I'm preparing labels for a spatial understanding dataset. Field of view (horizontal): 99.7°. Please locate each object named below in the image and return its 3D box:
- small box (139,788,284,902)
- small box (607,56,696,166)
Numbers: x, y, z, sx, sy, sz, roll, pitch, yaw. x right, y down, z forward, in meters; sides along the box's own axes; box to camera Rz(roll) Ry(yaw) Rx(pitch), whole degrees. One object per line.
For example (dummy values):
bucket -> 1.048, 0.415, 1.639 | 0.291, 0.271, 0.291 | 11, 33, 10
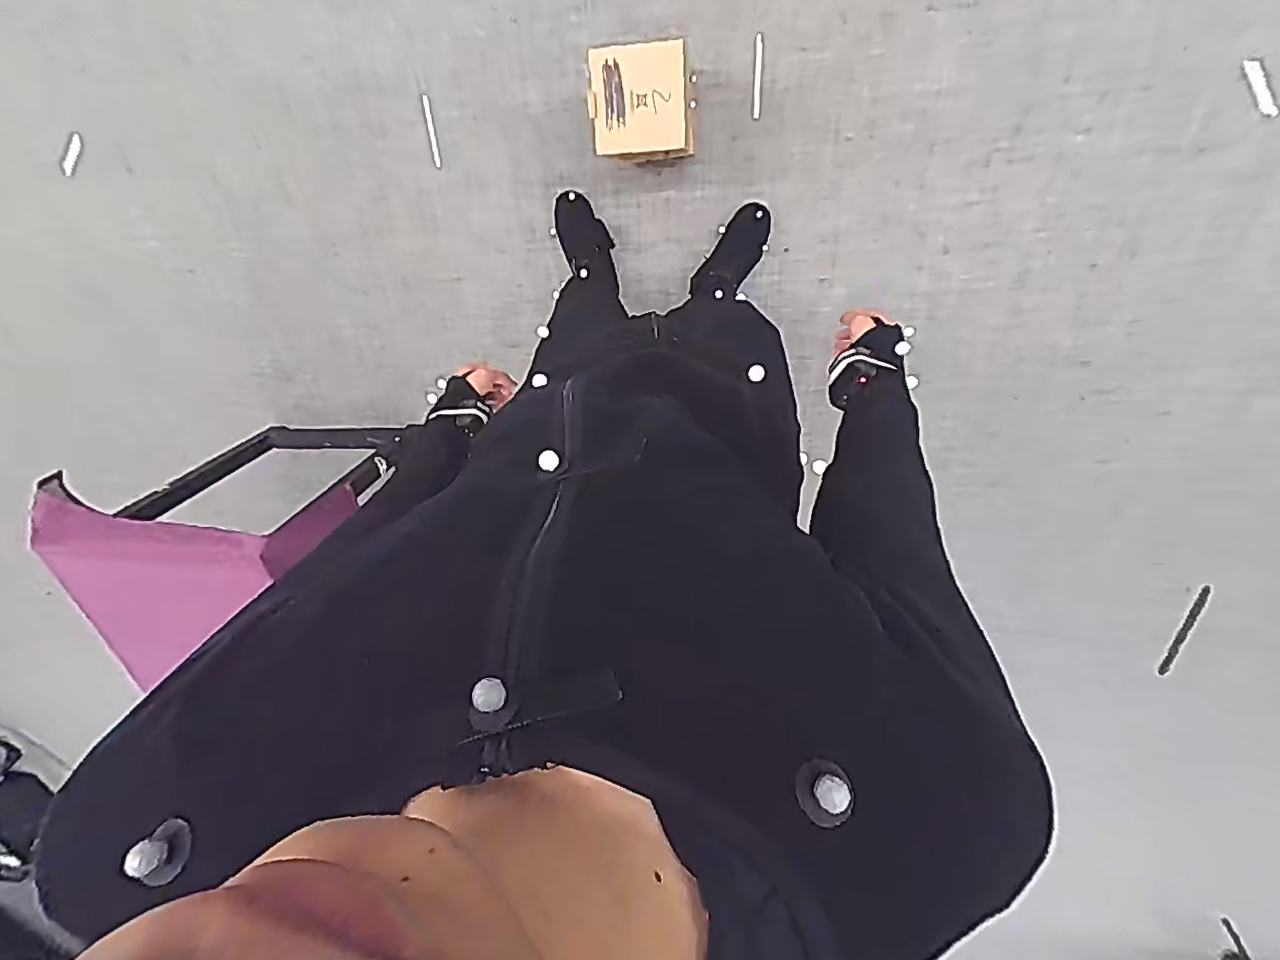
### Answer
small box -> -1.012, 0.866, 1.293 | 0.179, 0.176, 0.168 | -4, 119, 12
small box -> 0.033, -0.811, 1.202 | 0.168, 0.176, 0.179 | -2, 119, 11
